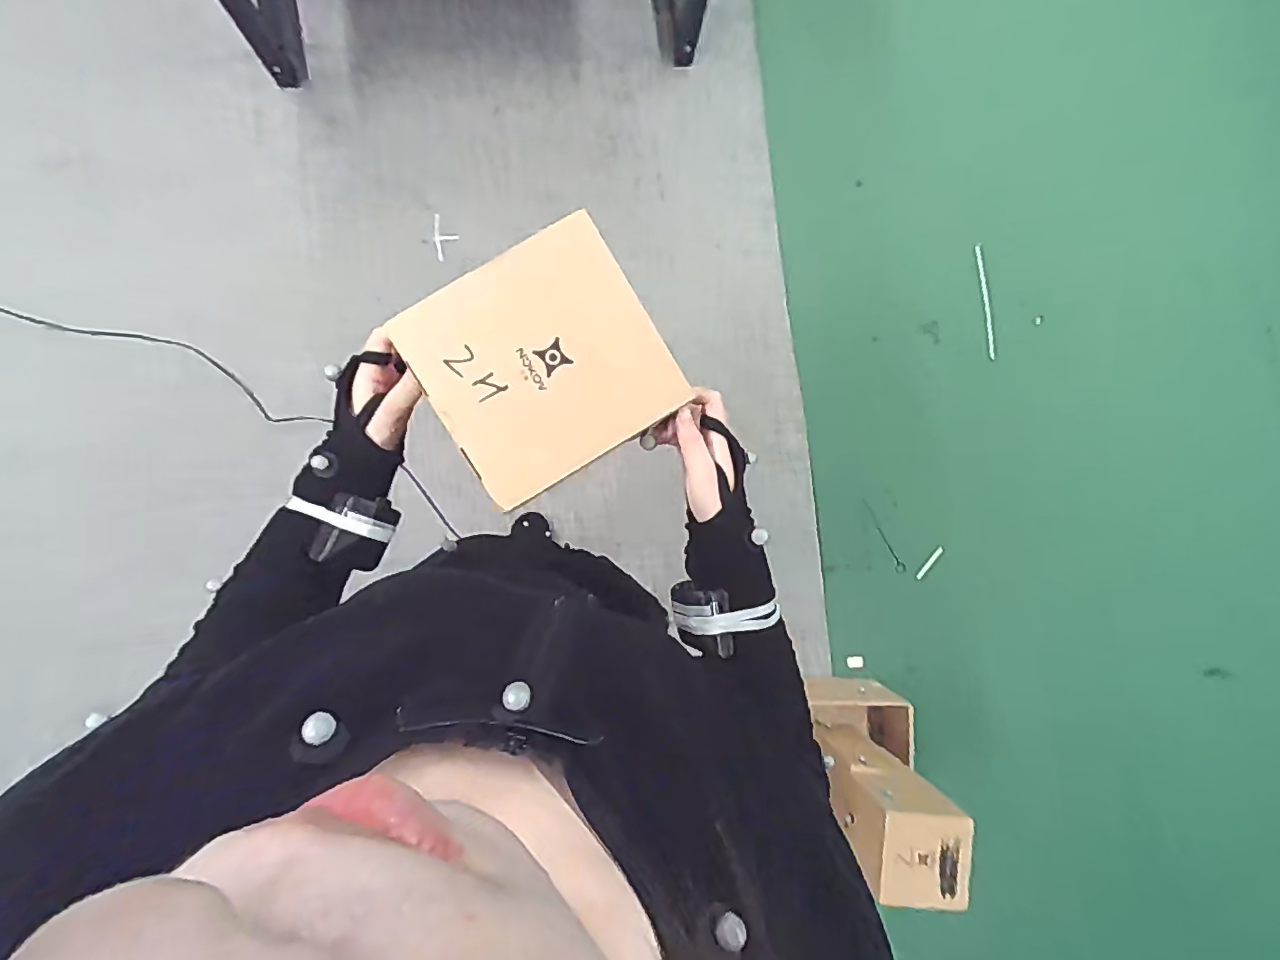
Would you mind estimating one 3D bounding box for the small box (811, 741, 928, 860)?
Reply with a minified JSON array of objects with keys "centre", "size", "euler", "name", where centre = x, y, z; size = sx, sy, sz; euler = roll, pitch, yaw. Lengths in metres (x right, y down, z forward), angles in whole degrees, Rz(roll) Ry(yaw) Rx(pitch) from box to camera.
[{"centre":[0.520,0.727,1.245],"size":[0.179,0.176,0.168],"euler":[13,85,-3],"name":"small box"}]
